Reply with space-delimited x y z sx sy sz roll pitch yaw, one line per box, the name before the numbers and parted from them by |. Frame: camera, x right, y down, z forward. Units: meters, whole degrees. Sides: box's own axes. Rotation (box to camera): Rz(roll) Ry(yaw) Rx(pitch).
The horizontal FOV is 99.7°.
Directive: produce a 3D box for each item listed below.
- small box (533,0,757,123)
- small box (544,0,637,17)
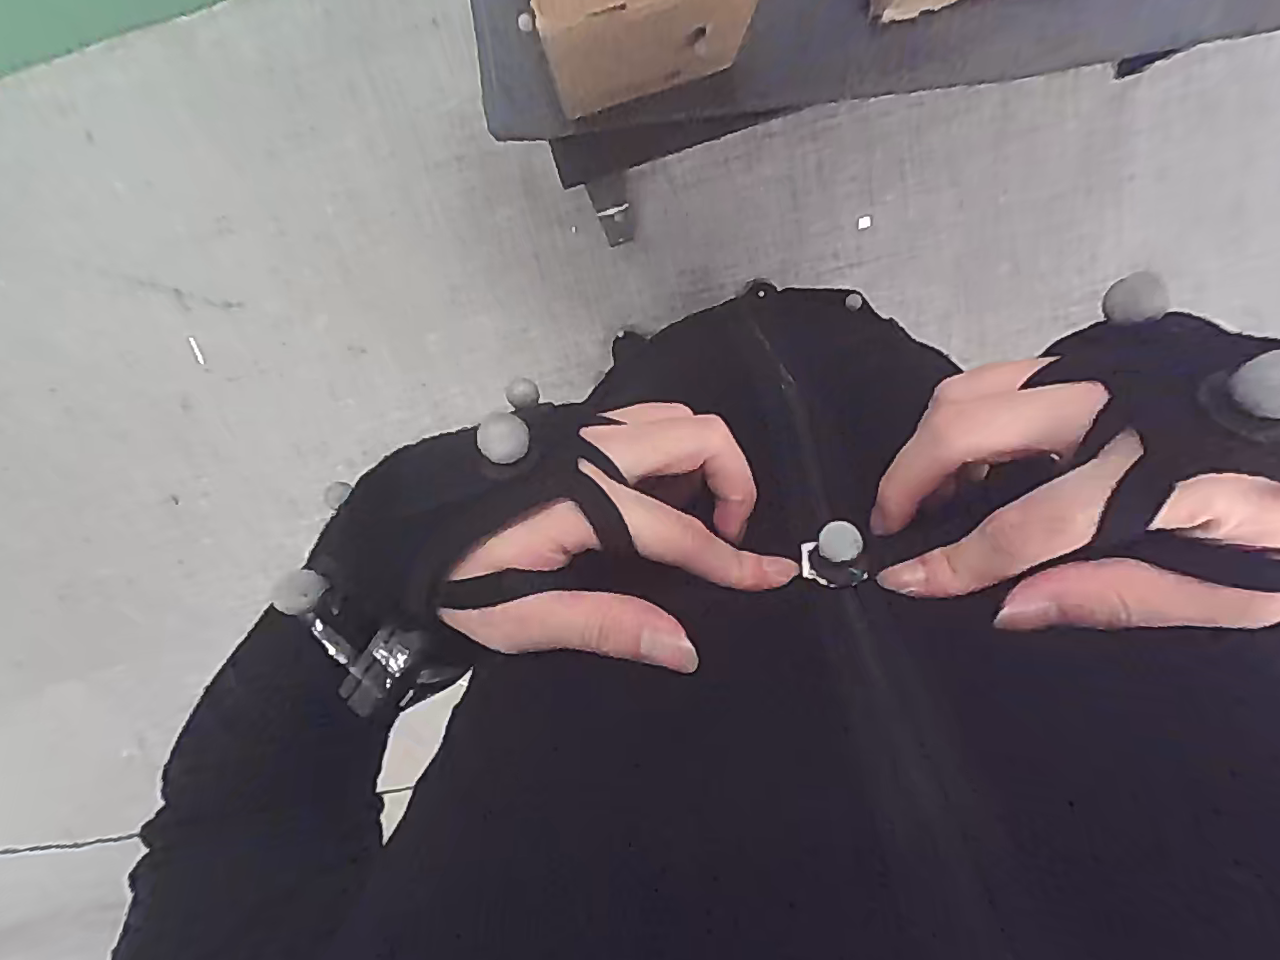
small box | -0.010 -0.422 0.436 0.168 0.176 0.179 -16 104 2
small box | -0.005 -0.388 0.277 0.168 0.176 0.179 -16 105 2
